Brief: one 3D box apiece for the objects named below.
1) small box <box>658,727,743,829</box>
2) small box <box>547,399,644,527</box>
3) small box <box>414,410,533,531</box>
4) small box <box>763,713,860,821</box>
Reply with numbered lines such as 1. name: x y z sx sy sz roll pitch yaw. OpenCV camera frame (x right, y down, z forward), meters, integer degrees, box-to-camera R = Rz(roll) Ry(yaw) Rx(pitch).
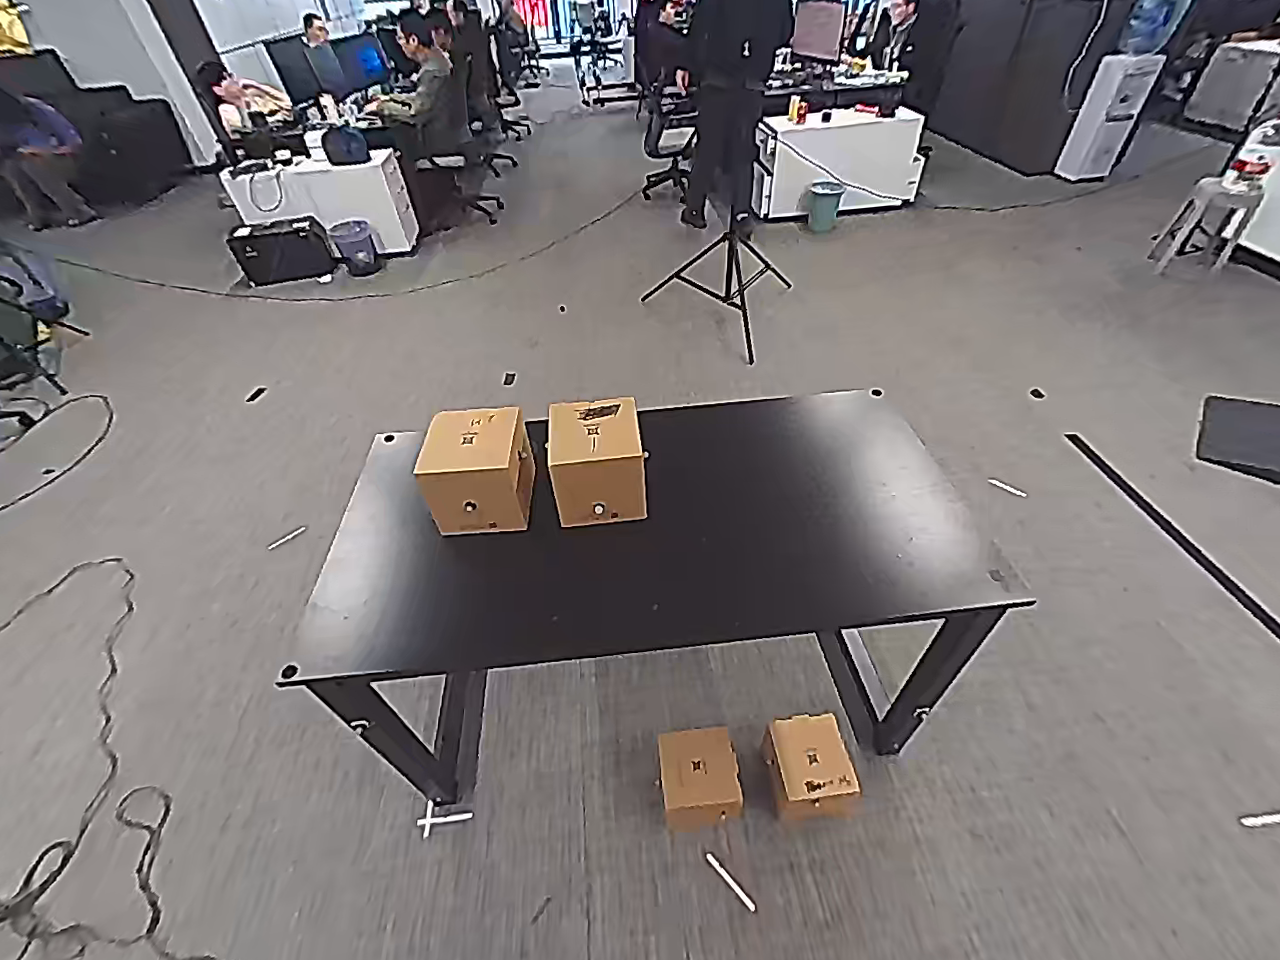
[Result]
1. small box: 0.140 0.718 1.302 0.179 0.176 0.168 -7 43 -1
2. small box: -0.082 -0.033 1.043 0.168 0.176 0.179 -6 45 -2
3. small box: -0.306 -0.013 1.040 0.168 0.176 0.179 -3 44 0
4. small box: 0.402 0.692 1.304 0.168 0.176 0.179 -7 44 -2
